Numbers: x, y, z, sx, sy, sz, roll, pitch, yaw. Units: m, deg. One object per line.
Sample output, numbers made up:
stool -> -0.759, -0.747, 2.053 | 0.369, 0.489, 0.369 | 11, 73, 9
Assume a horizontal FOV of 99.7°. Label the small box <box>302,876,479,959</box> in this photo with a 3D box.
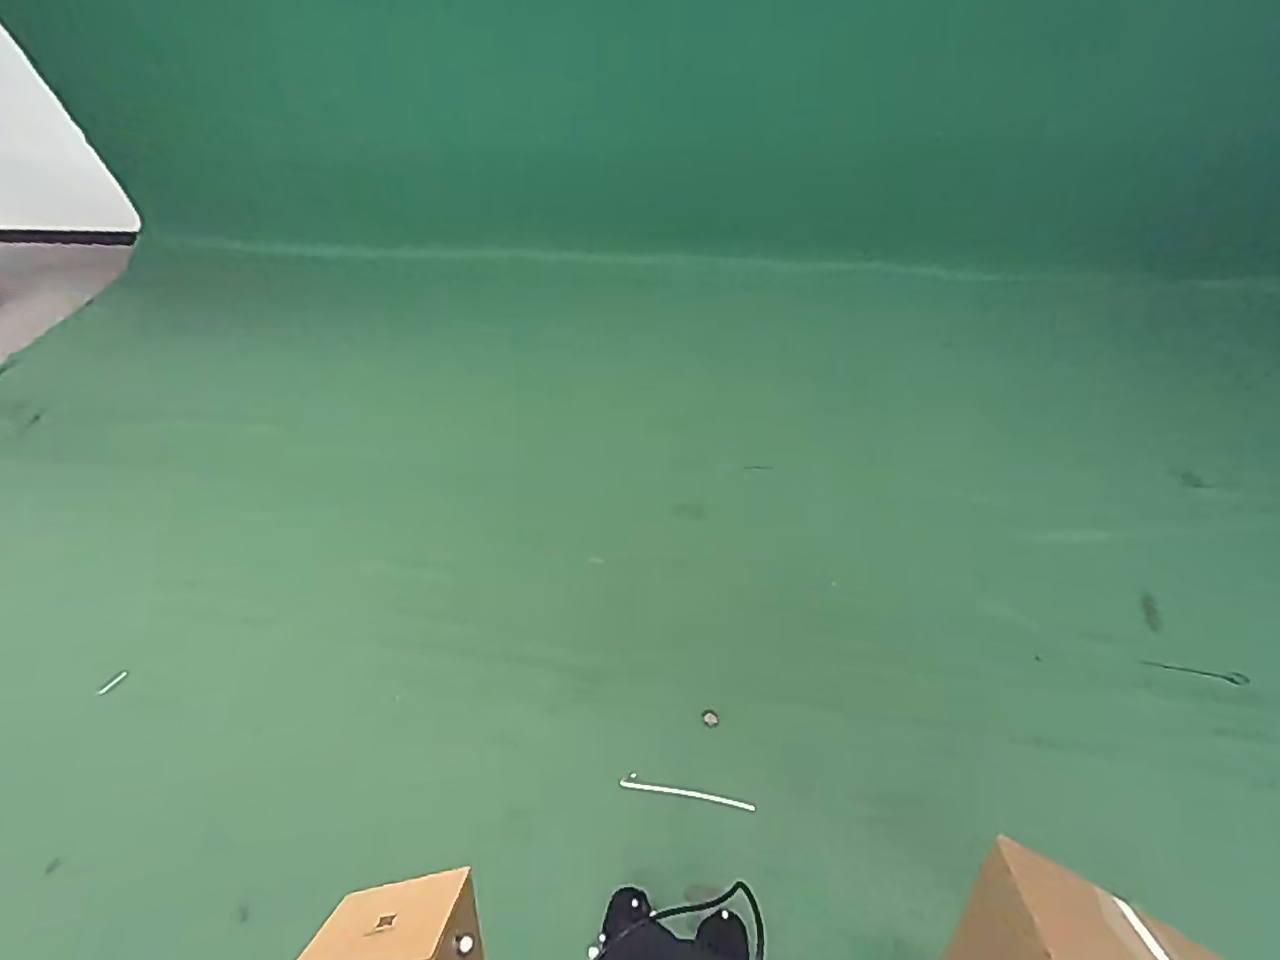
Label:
small box -> -0.289, 0.615, 0.630 | 0.168, 0.179, 0.176 | -10, 82, -5
